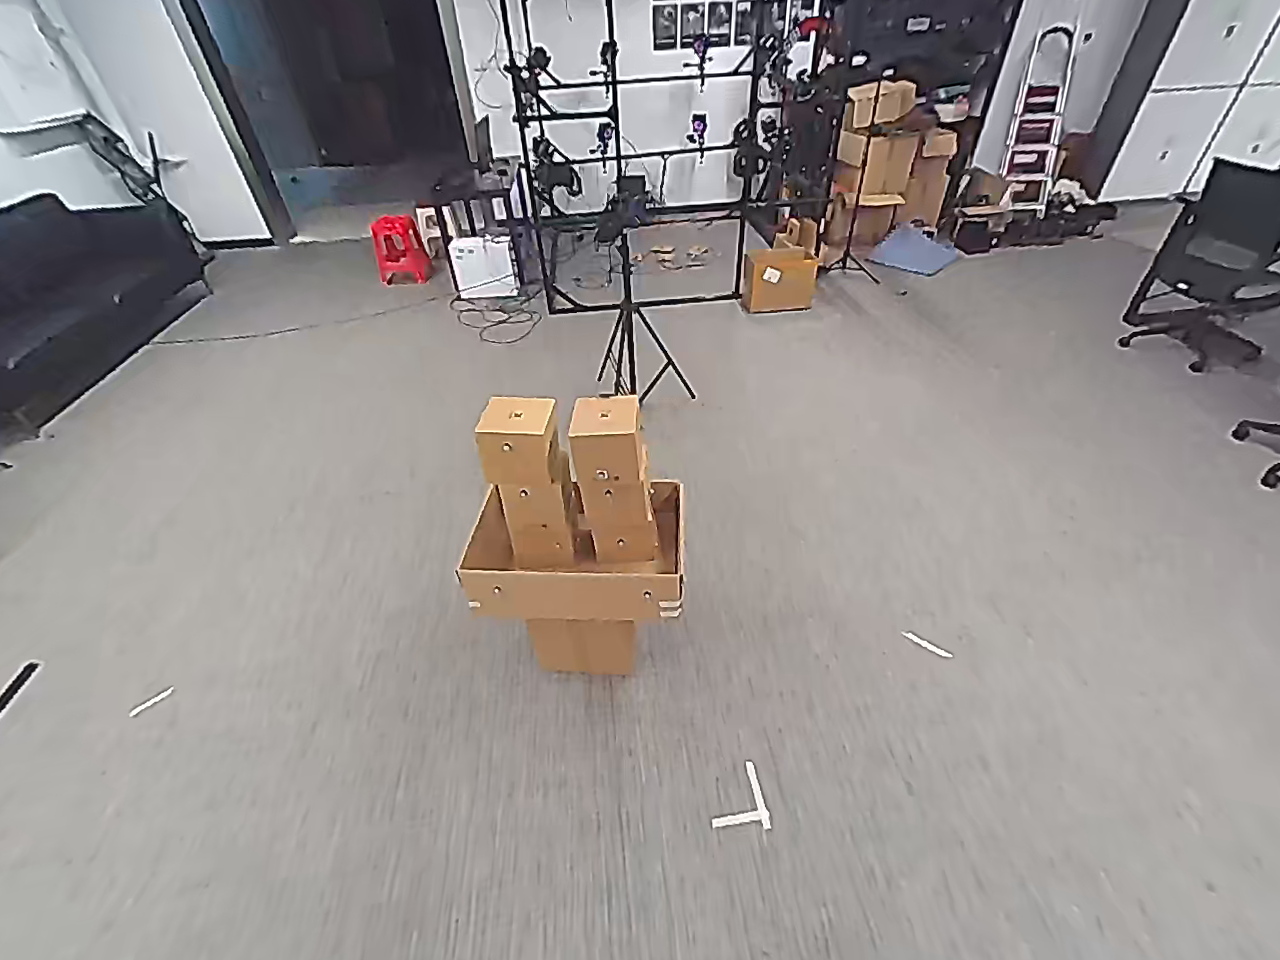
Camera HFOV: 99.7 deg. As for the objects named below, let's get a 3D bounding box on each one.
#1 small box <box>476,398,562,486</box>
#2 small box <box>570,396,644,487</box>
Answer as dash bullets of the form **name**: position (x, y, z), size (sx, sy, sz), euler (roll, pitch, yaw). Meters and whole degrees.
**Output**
- **small box**: position (-0.308, -0.099, 1.420), size (0.179, 0.176, 0.168), euler (2, 40, 3)
- **small box**: position (-0.079, -0.101, 1.404), size (0.168, 0.176, 0.179), euler (-3, 39, 5)
